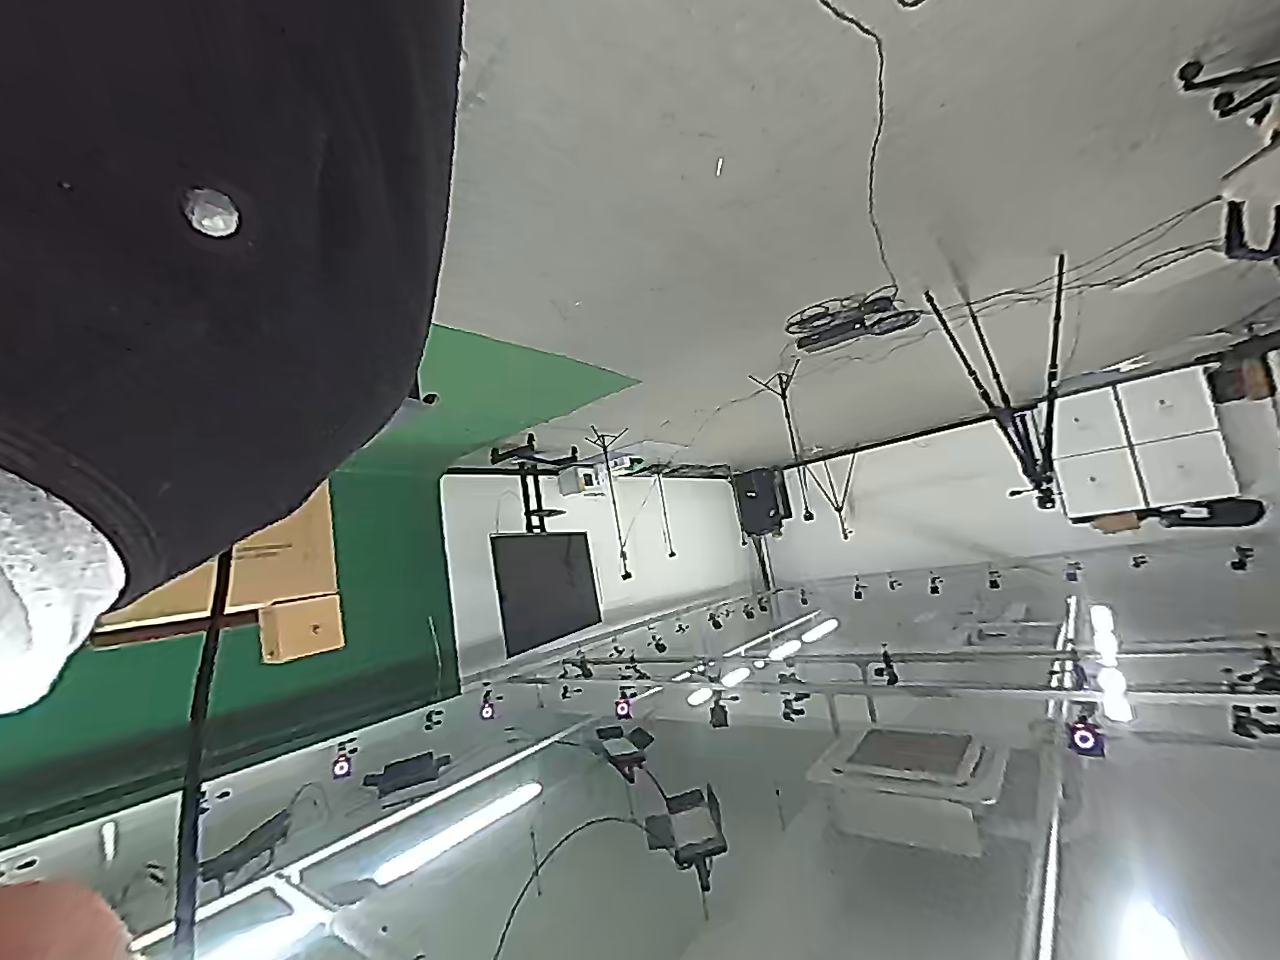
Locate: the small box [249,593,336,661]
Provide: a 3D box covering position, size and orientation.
[{"bbox_3d":[-1.069,0.449,1.661,0.168,0.176,0.179,-17,172,39],"label":"small box"}]
